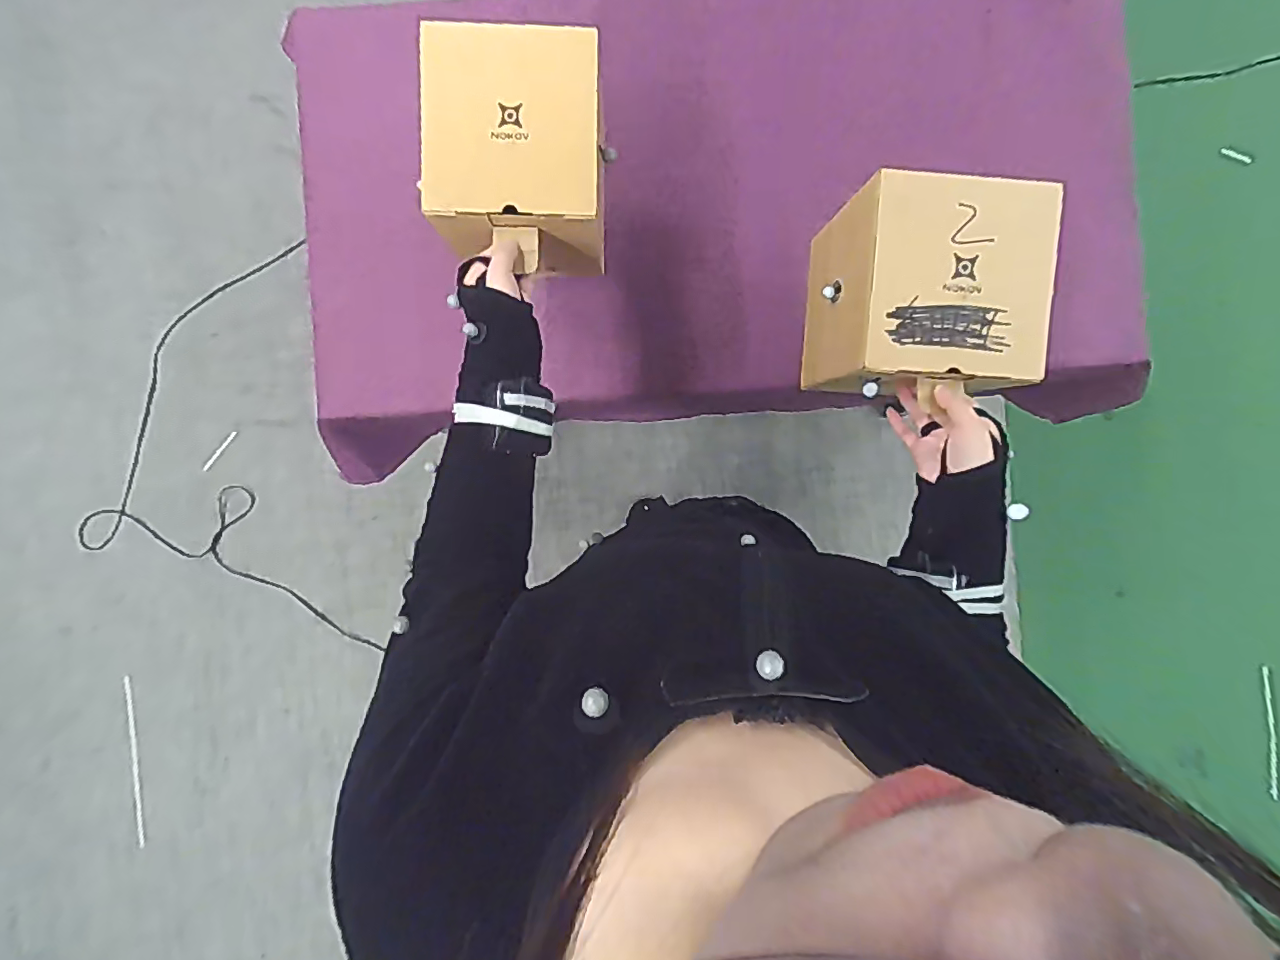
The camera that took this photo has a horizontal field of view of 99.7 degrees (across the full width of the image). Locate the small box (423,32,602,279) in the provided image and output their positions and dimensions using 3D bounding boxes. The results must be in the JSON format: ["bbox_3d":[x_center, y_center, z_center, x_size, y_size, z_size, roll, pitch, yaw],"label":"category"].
[{"bbox_3d":[-0.128,-0.339,0.597,0.168,0.176,0.179,0,93,-2],"label":"small box"}]
